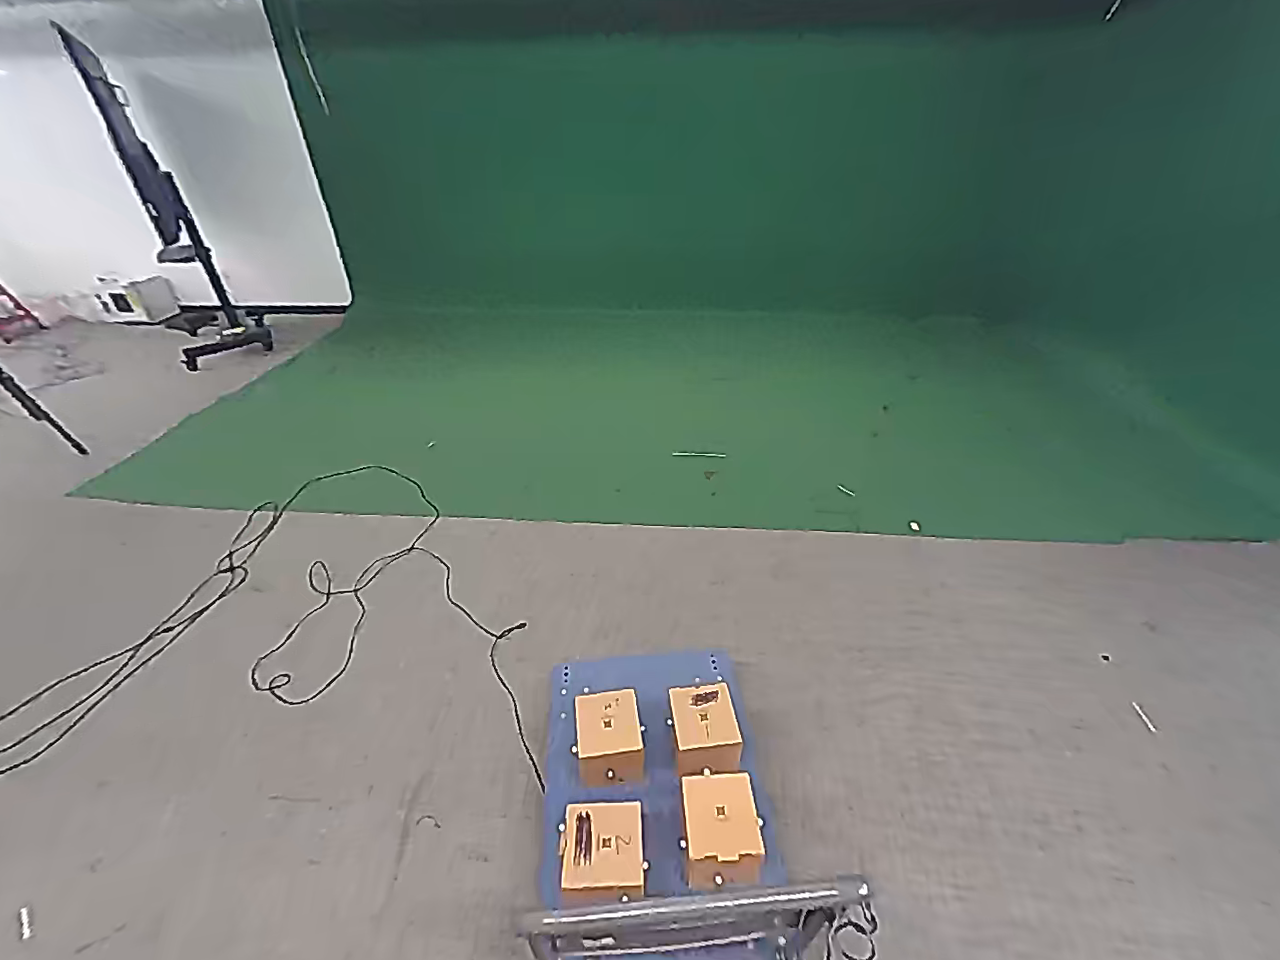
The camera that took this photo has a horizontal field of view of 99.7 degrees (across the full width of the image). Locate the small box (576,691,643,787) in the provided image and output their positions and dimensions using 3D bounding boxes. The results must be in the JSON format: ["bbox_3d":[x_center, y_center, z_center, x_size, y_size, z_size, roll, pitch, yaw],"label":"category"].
[{"bbox_3d":[-0.082,0.705,1.463,0.168,0.176,0.179,-5,36,-6],"label":"small box"}]

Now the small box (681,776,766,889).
[{"bbox_3d":[0.188,0.831,1.279,0.168,0.176,0.179,-2,36,-2],"label":"small box"}]

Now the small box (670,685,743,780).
[{"bbox_3d":[0.174,0.690,1.475,0.168,0.176,0.179,-5,36,-4],"label":"small box"}]
